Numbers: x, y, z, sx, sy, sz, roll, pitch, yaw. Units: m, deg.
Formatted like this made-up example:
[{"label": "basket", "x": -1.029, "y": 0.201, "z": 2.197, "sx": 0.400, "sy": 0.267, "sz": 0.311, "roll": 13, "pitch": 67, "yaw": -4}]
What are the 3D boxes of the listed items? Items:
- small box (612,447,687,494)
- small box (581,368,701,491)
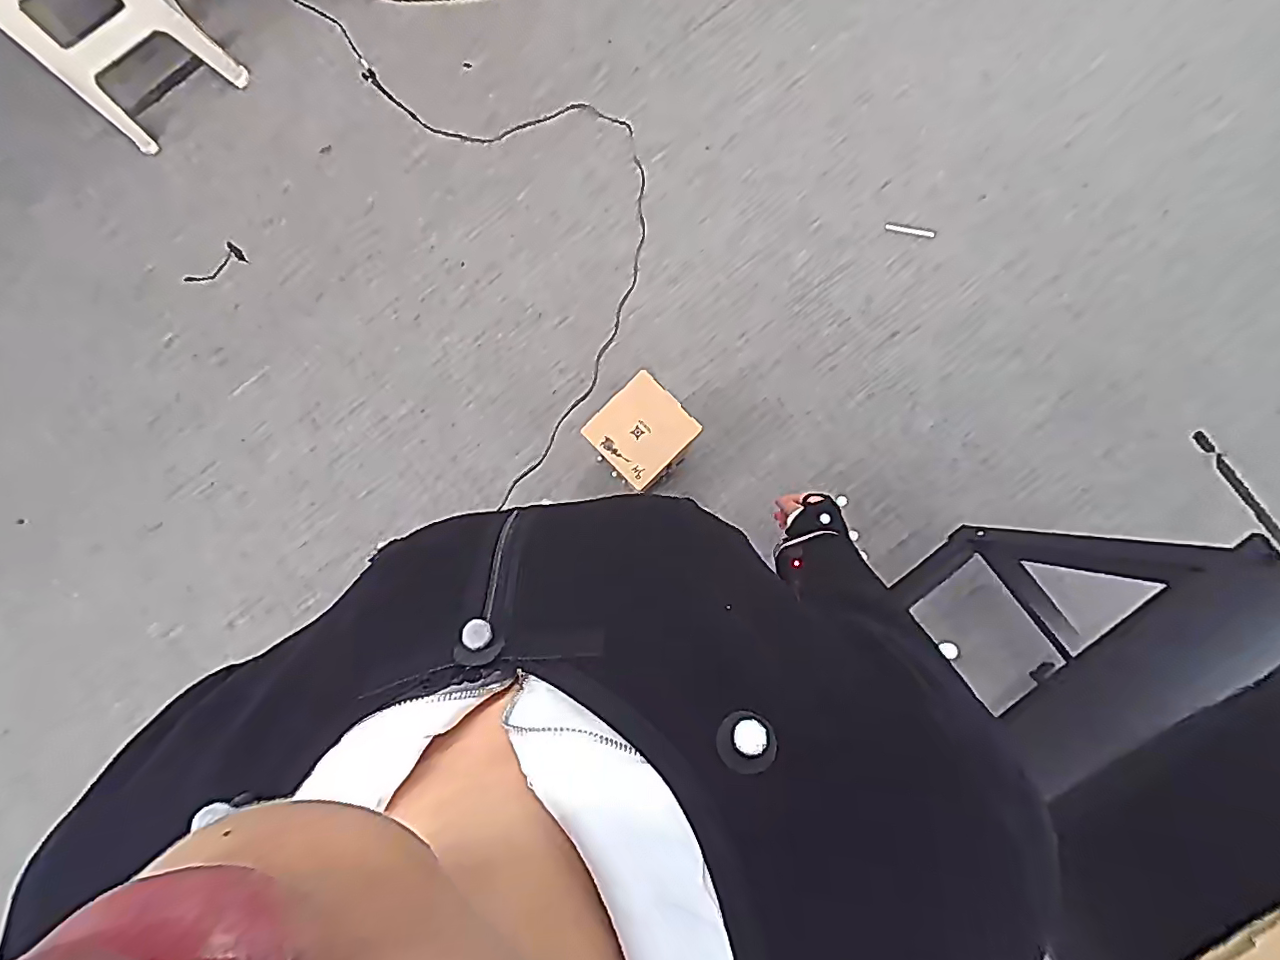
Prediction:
[{"label": "small box", "x": 0.004, "y": -0.078, "z": 1.438, "sx": 0.179, "sy": 0.176, "sz": 0.168, "roll": -42, "pitch": 87, "yaw": 0}, {"label": "small box", "x": 0.001, "y": -0.095, "z": 1.111, "sx": 0.179, "sy": 0.176, "sz": 0.168, "roll": -44, "pitch": 86, "yaw": -2}]
